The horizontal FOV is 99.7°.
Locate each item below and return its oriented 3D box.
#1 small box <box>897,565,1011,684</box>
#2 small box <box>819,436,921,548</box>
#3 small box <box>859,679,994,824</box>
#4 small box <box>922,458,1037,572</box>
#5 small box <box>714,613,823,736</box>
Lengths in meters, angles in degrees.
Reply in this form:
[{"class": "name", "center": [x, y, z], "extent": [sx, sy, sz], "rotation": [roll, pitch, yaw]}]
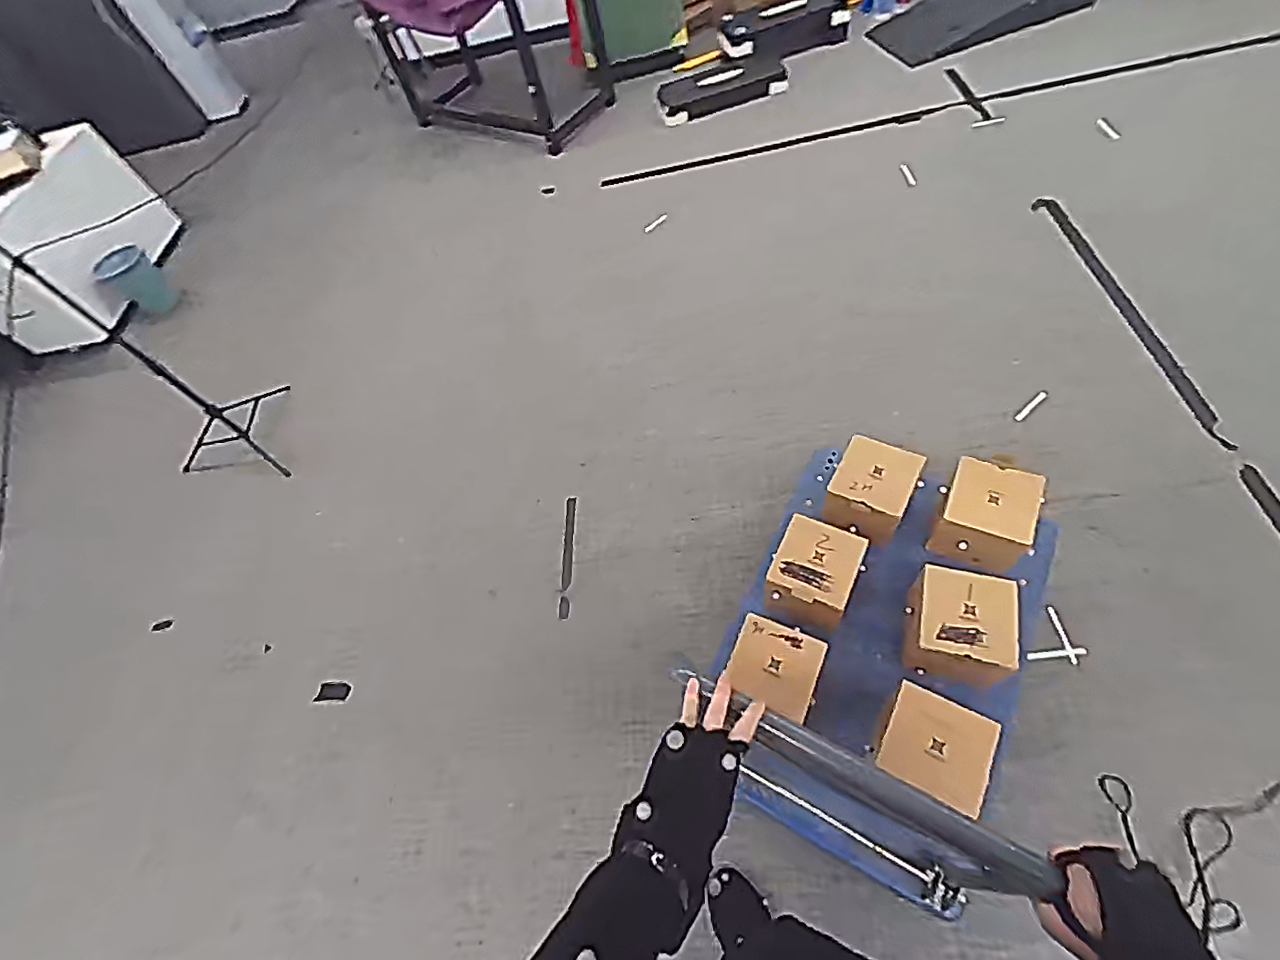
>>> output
[{"class": "small box", "center": [0.639, 0.302, 1.113], "extent": [0.168, 0.176, 0.179], "rotation": [11, 61, 18]}, {"class": "small box", "center": [0.542, 0.031, 1.299], "extent": [0.168, 0.176, 0.179], "rotation": [24, 67, 24]}, {"class": "small box", "center": [0.523, 0.509, 1.010], "extent": [0.168, 0.176, 0.179], "rotation": [23, 65, 23]}, {"class": "small box", "center": [0.759, 0.084, 1.224], "extent": [0.168, 0.176, 0.179], "rotation": [19, 64, 22]}, {"class": "small box", "center": [0.267, 0.409, 1.124], "extent": [0.168, 0.176, 0.179], "rotation": [19, 65, 21]}]
